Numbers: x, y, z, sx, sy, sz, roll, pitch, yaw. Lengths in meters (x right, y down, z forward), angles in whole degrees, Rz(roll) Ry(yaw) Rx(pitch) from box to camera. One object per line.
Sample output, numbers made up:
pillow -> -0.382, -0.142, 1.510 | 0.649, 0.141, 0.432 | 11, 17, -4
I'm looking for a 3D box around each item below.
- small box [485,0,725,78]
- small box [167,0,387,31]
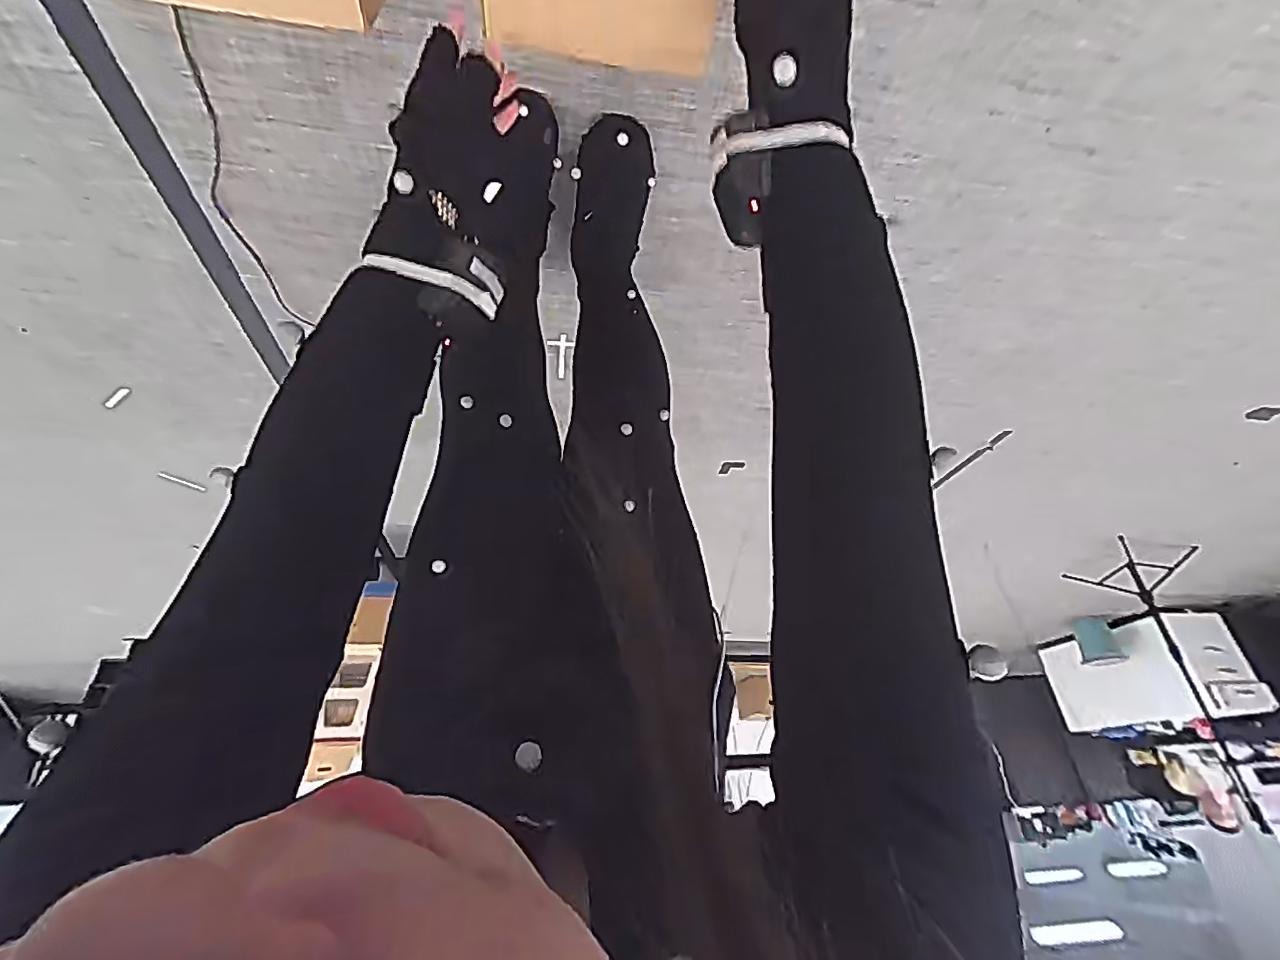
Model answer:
small box -> -0.021, -0.444, 0.399 | 0.179, 0.176, 0.168 | 2, 150, -11
small box -> -0.272, -0.450, 0.365 | 0.179, 0.176, 0.168 | 2, 149, -9
